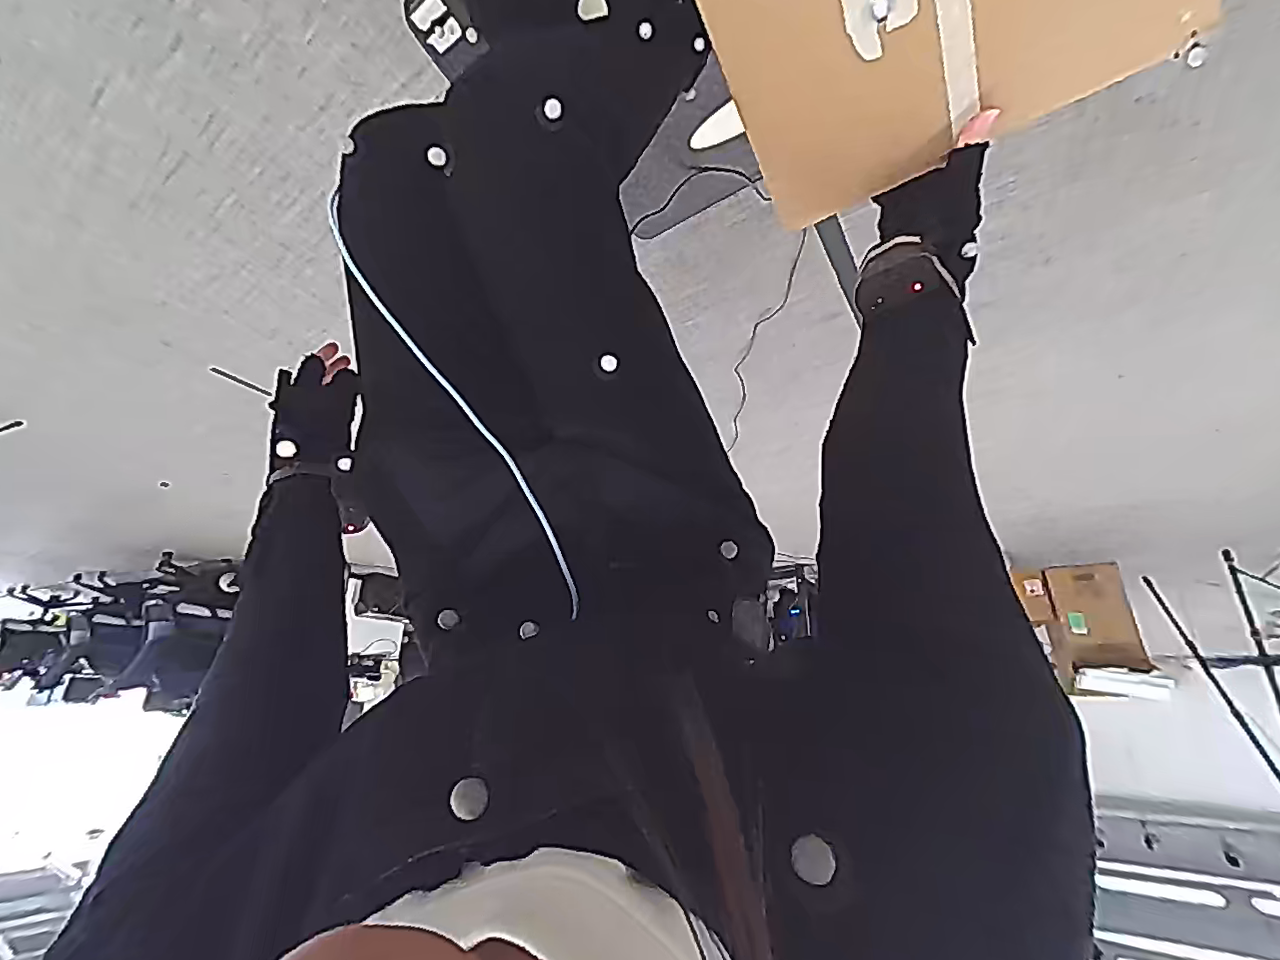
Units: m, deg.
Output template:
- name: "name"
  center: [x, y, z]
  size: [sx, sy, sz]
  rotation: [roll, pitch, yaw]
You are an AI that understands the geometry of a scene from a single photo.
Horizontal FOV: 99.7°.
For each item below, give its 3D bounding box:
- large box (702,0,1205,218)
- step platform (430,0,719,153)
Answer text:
- name: "large box"
  center: [0.186, -0.517, 0.413]
  size: [0.320, 0.320, 0.408]
  rotation: [-15, 141, 28]
- name: "step platform"
  center: [0.053, -0.719, 0.649]
  size: [0.684, 0.204, 0.286]
  rotation: [-16, 151, 33]
